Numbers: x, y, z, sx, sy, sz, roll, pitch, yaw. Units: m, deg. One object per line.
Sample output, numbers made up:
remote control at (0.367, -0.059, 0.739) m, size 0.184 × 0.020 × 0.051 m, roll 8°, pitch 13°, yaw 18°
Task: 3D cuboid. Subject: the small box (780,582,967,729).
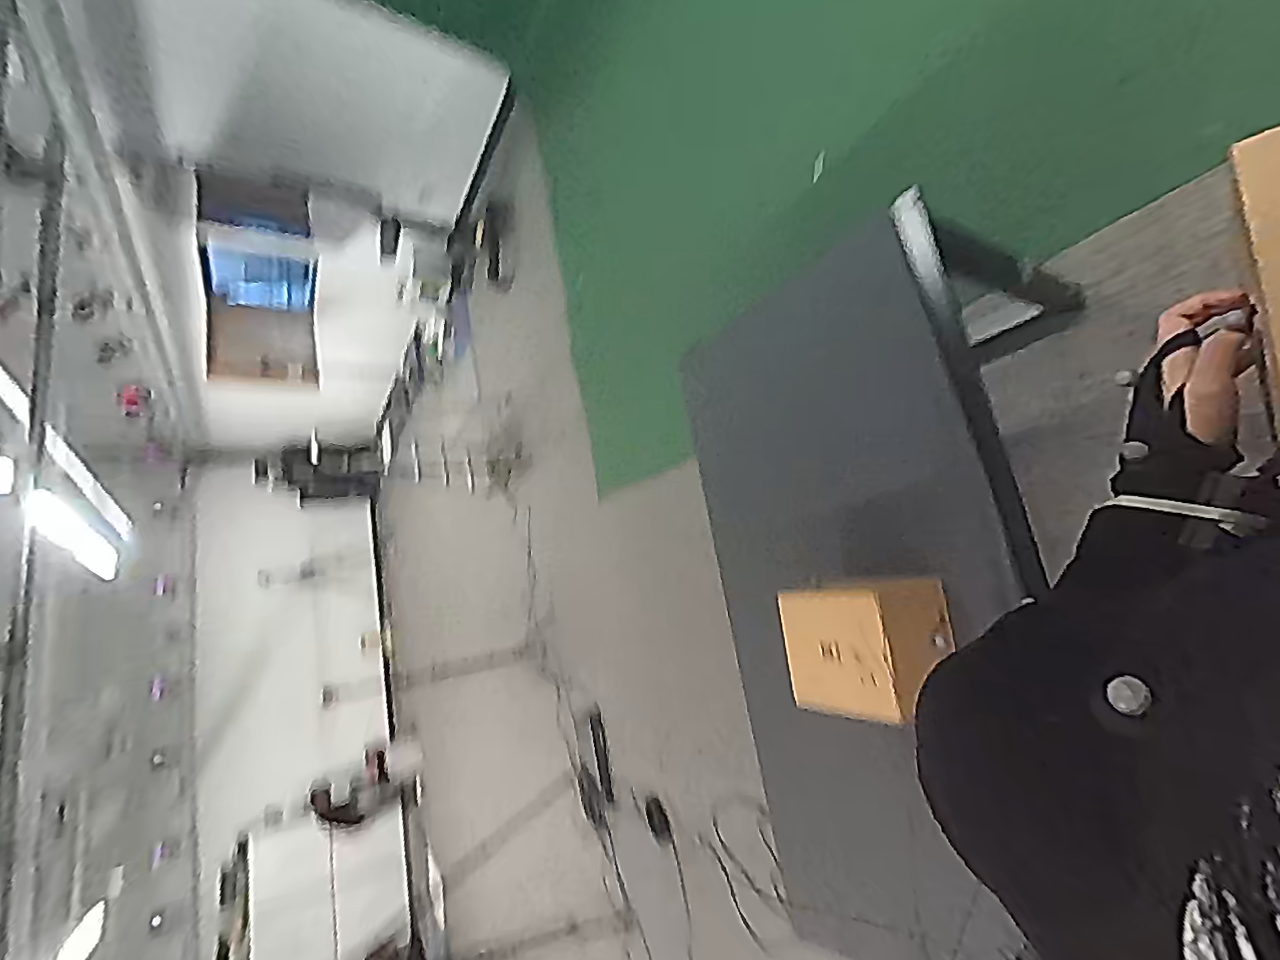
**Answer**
small box at (0.338, 0.245, 0.795) m, size 0.179 × 0.176 × 0.168 m, roll -21°, pitch 75°, yaw 54°
